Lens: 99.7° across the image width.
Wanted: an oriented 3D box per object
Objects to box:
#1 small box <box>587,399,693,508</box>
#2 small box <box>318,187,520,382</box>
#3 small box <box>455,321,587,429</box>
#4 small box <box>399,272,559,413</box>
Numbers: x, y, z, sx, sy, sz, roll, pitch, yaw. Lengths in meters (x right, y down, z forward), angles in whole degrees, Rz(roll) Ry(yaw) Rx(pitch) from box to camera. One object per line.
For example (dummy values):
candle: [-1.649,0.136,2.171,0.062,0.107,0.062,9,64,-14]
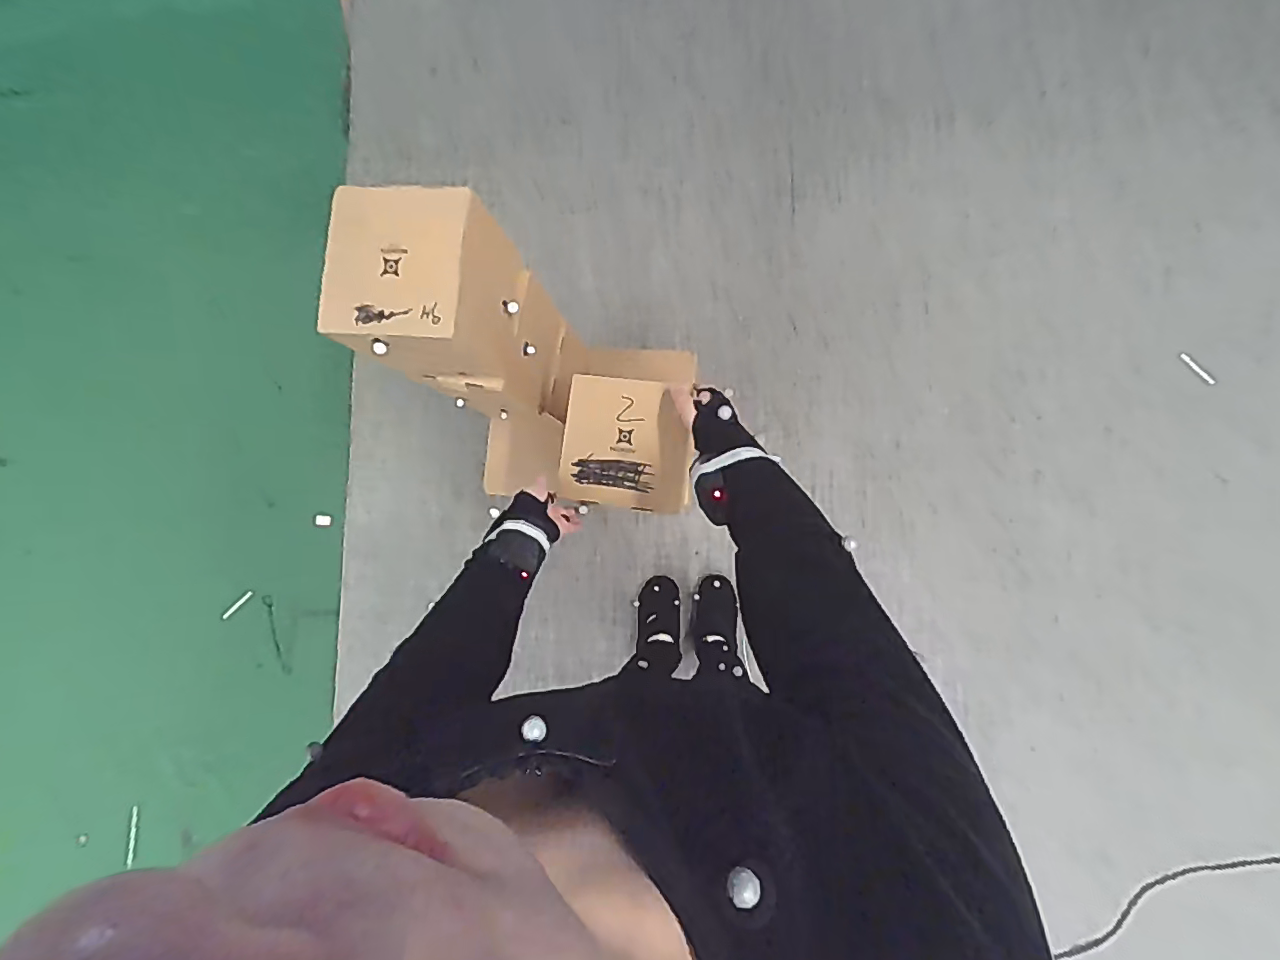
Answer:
small box: [0.008,-0.041,0.965,0.168,0.176,0.179,2,85,8]
small box: [-0.264,-0.238,0.686,0.168,0.176,0.179,5,85,9]
small box: [-0.213,-0.198,1.009,0.179,0.176,0.168,10,87,7]
small box: [-0.239,-0.215,0.848,0.168,0.176,0.179,12,85,8]
